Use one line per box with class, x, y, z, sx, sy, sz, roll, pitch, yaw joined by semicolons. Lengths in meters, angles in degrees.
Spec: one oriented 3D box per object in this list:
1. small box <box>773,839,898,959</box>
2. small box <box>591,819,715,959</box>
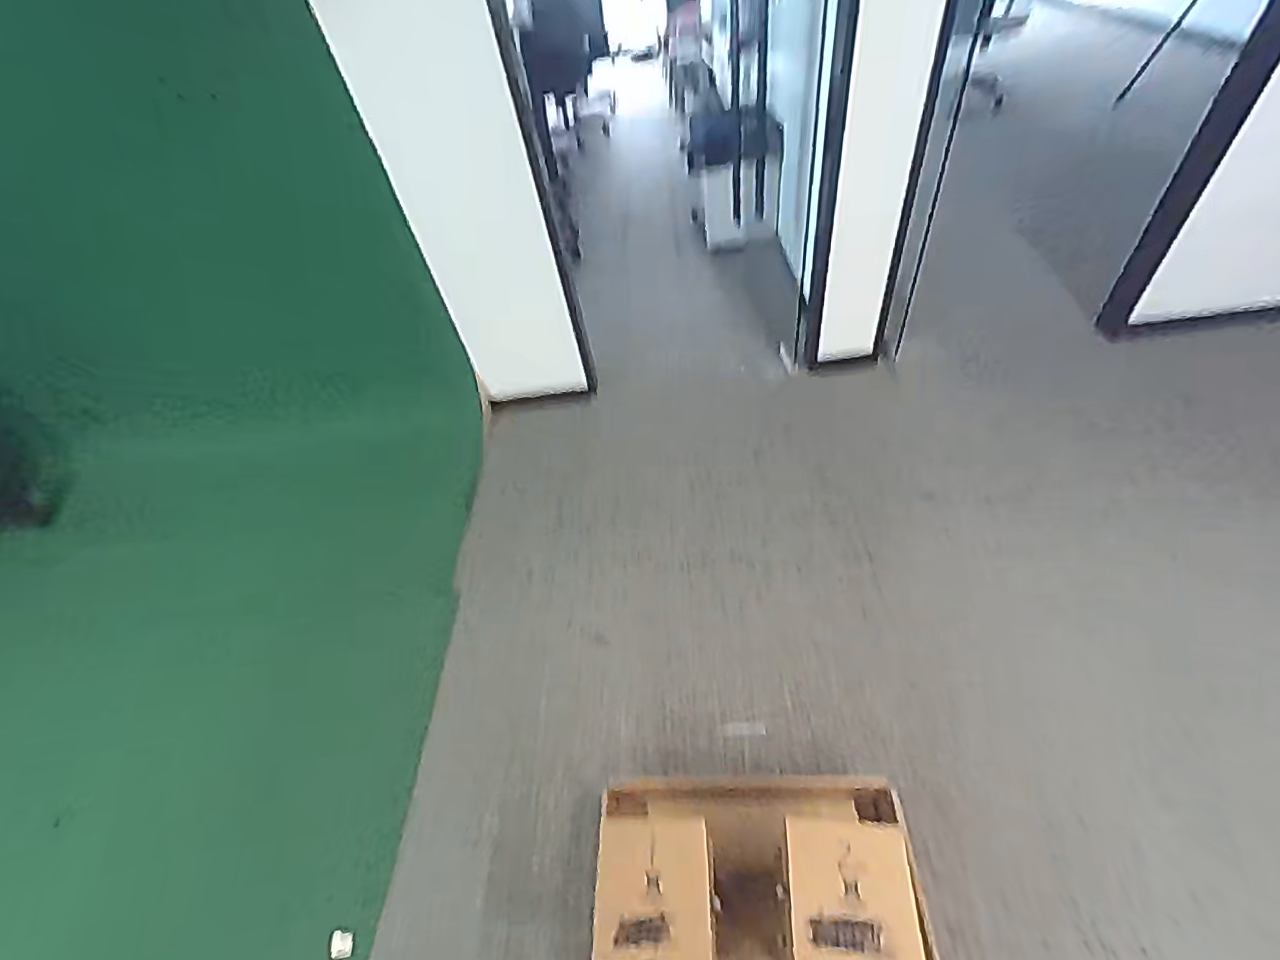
small box;0.321;0.732;0.921;0.168;0.176;0.179;-3;49;8
small box;0.027;0.640;0.831;0.168;0.176;0.179;-4;47;6
